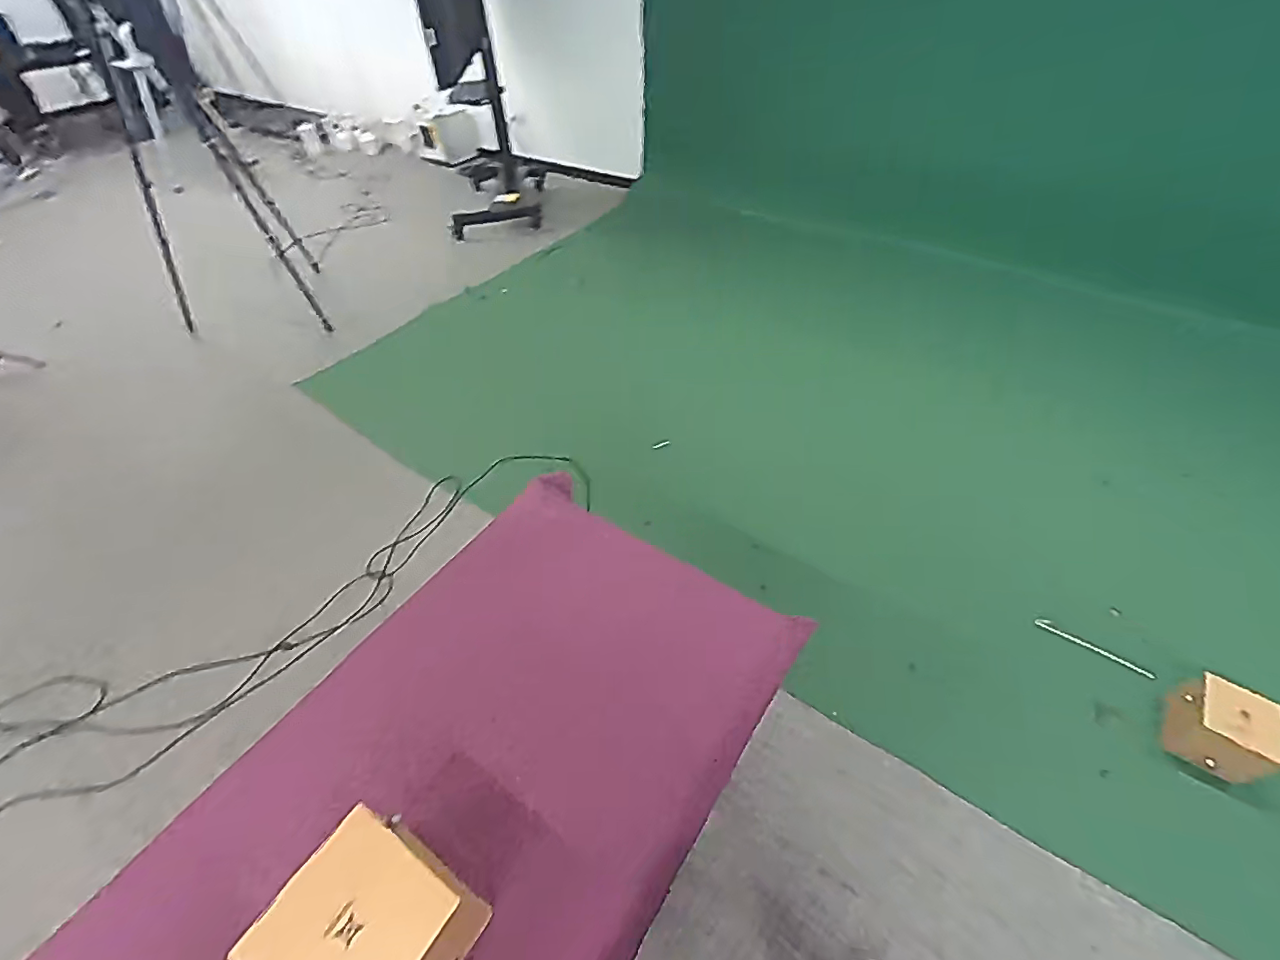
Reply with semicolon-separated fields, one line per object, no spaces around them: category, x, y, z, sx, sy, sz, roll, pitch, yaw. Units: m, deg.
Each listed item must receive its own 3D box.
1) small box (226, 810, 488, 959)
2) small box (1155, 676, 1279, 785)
small box;-0.302;0.522;0.616;0.179;0.176;0.168;24;52;23
small box;1.519;0.664;1.431;0.168;0.176;0.179;28;53;25
